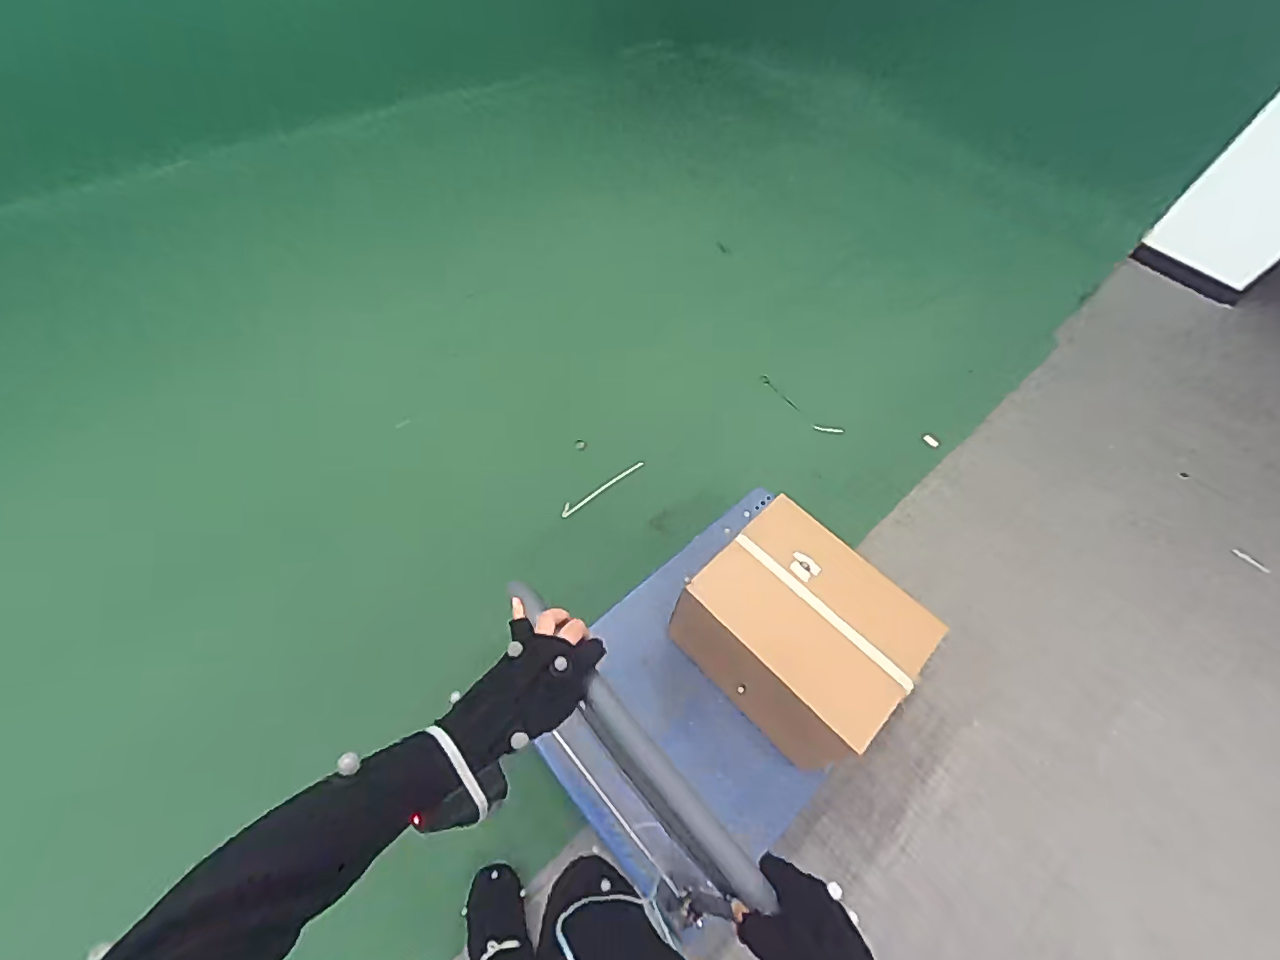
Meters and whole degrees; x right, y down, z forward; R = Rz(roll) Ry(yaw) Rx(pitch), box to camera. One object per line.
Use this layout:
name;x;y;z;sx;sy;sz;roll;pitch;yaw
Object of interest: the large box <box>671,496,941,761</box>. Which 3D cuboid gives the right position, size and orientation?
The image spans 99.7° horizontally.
large box;0.324;0.319;1.159;0.320;0.320;0.408;-39;67;-25
